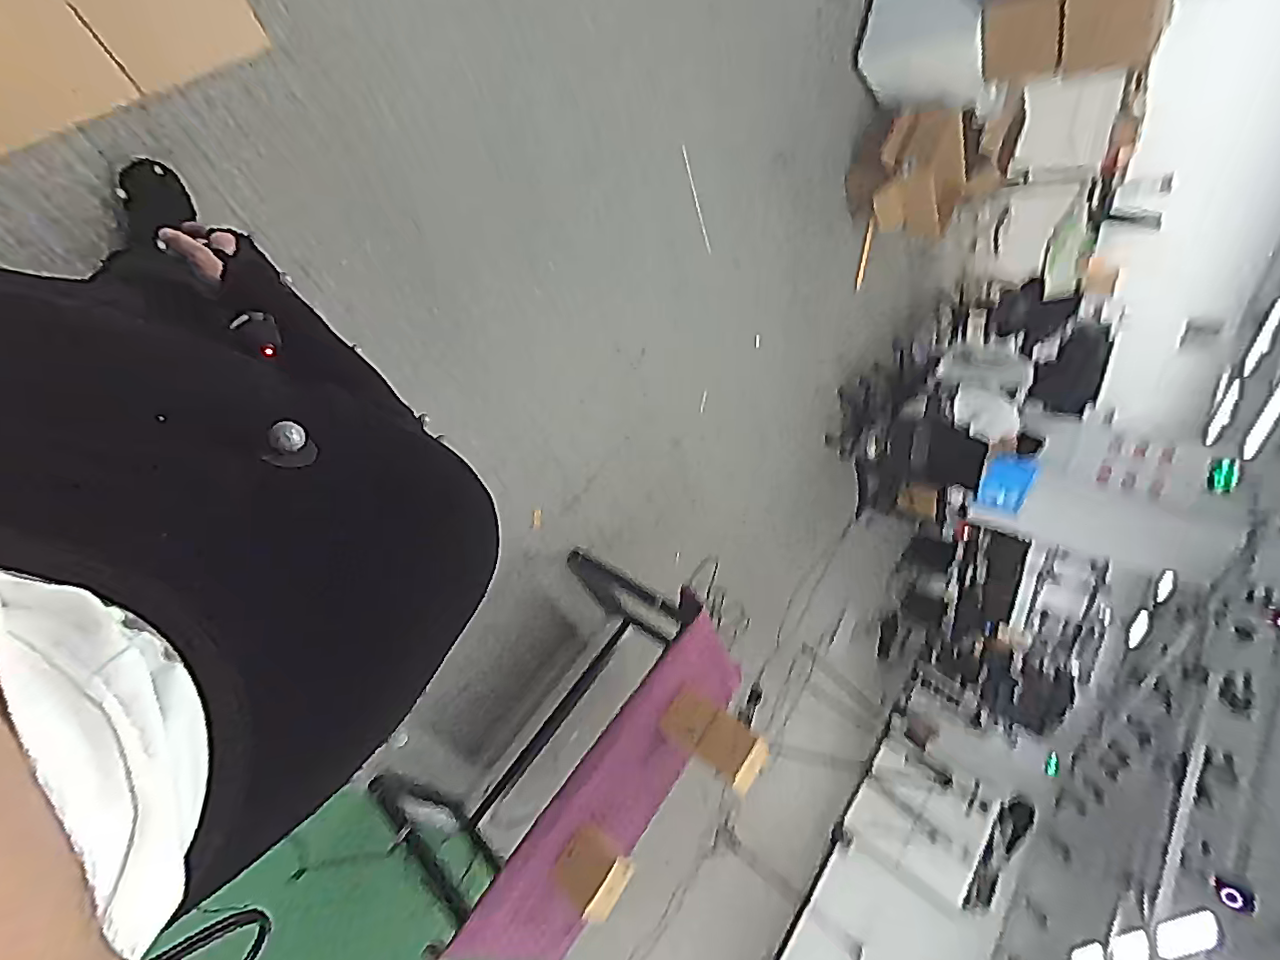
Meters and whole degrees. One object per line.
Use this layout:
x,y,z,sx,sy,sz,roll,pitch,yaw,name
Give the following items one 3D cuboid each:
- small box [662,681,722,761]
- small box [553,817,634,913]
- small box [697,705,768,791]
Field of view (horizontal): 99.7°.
0.199,0.871,1.965,0.179,0.176,0.168,-47,137,-22,small box
-0.155,1.234,1.737,0.179,0.176,0.168,-49,138,-21,small box
0.313,0.918,1.860,0.179,0.176,0.168,-48,136,-22,small box
